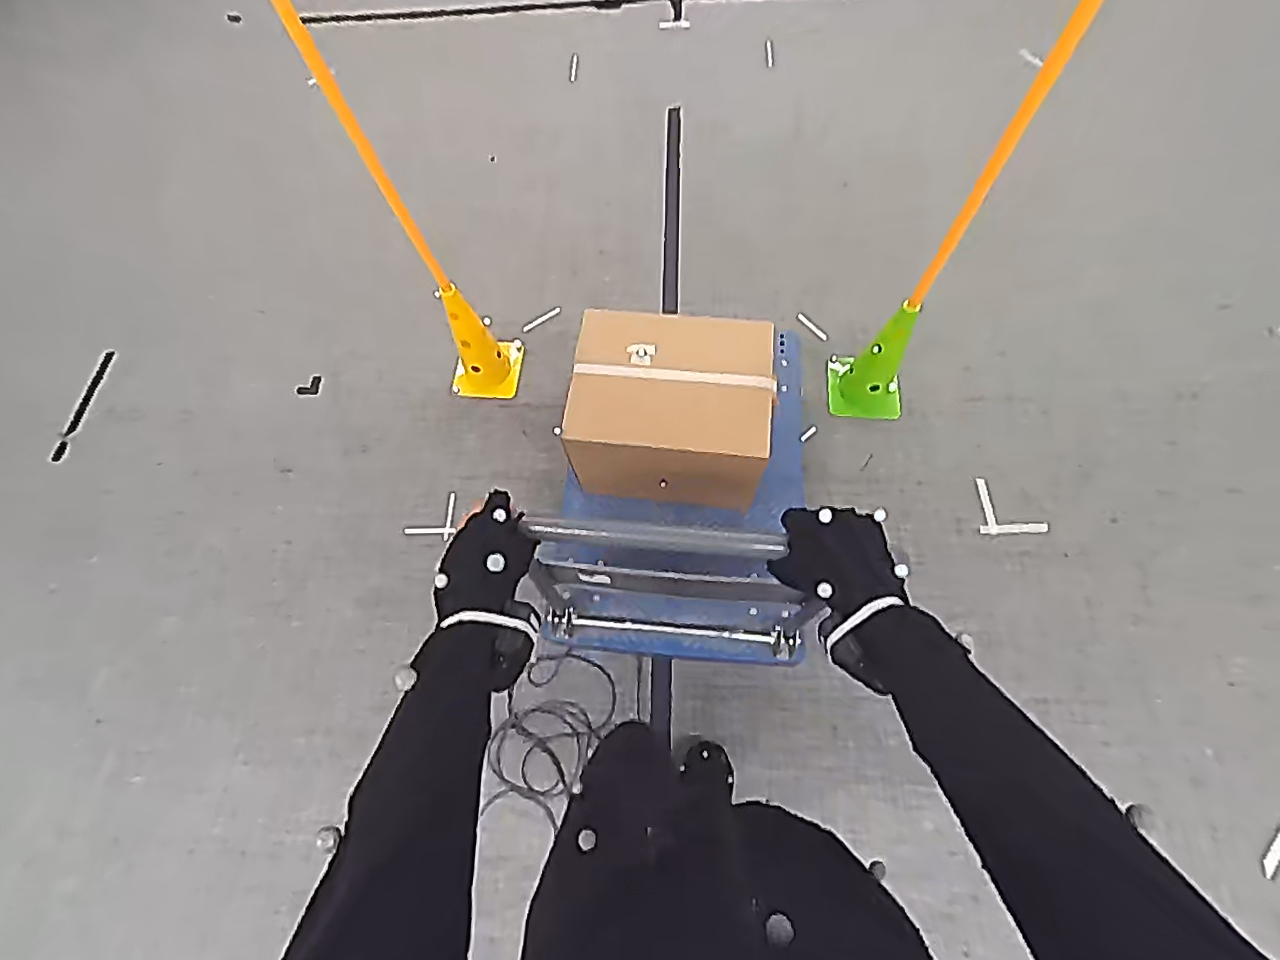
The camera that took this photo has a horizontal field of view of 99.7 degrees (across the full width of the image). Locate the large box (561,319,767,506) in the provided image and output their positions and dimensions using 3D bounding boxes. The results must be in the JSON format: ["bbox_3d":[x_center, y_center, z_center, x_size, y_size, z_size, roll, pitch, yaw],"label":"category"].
[{"bbox_3d":[0.068,-0.140,1.239,0.408,0.320,0.320,5,68,6],"label":"large box"}]

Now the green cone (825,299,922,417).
[{"bbox_3d":[0.646,-0.342,1.440,0.202,0.368,0.200,4,68,4],"label":"green cone"}]
